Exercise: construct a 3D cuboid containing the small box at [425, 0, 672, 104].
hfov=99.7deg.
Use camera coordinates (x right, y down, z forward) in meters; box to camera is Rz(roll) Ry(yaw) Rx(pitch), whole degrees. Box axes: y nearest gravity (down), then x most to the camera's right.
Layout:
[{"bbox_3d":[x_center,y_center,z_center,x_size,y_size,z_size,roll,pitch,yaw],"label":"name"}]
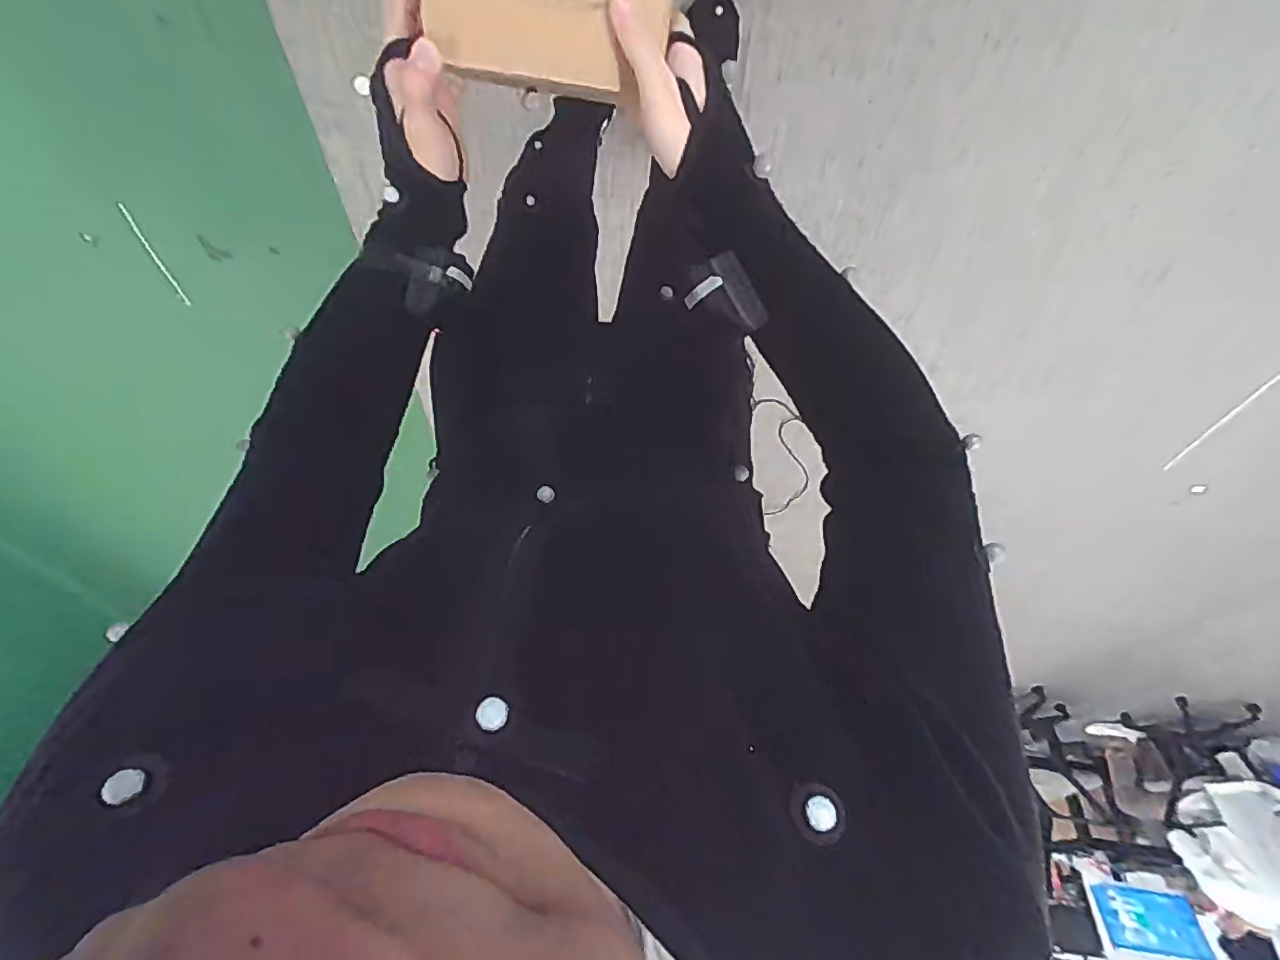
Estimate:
[{"bbox_3d":[-0.063,-0.402,0.405,0.168,0.176,0.179,3,123,-10],"label":"small box"}]
